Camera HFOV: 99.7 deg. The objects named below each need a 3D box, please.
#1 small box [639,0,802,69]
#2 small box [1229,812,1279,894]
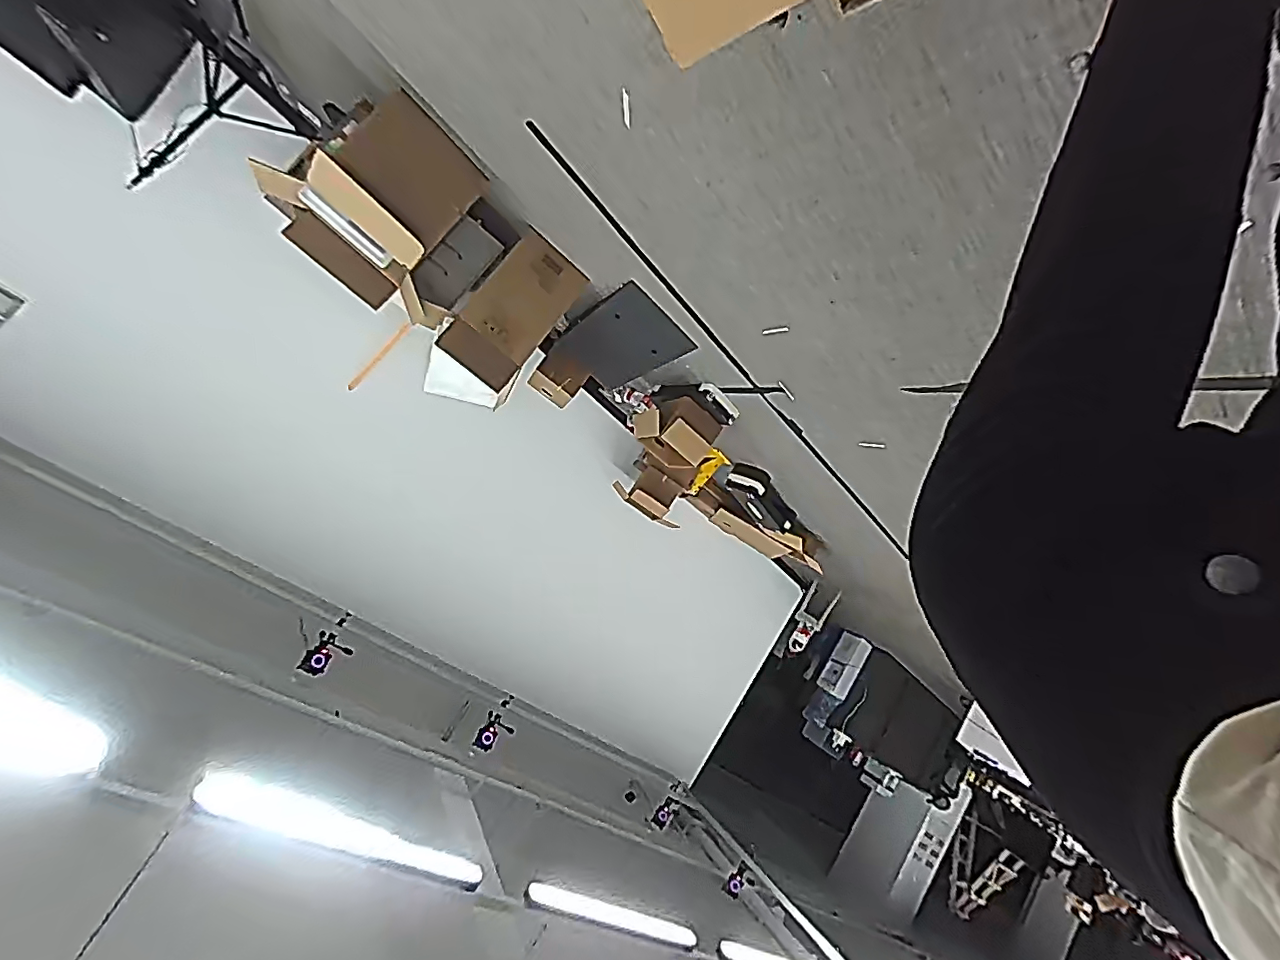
[{"bbox_3d":[0.082,-0.448,0.372,0.179,0.176,0.168,19,160,51],"label":"small box"},{"bbox_3d":[2.001,1.186,1.690,0.168,0.176,0.179,43,166,-28],"label":"small box"}]
